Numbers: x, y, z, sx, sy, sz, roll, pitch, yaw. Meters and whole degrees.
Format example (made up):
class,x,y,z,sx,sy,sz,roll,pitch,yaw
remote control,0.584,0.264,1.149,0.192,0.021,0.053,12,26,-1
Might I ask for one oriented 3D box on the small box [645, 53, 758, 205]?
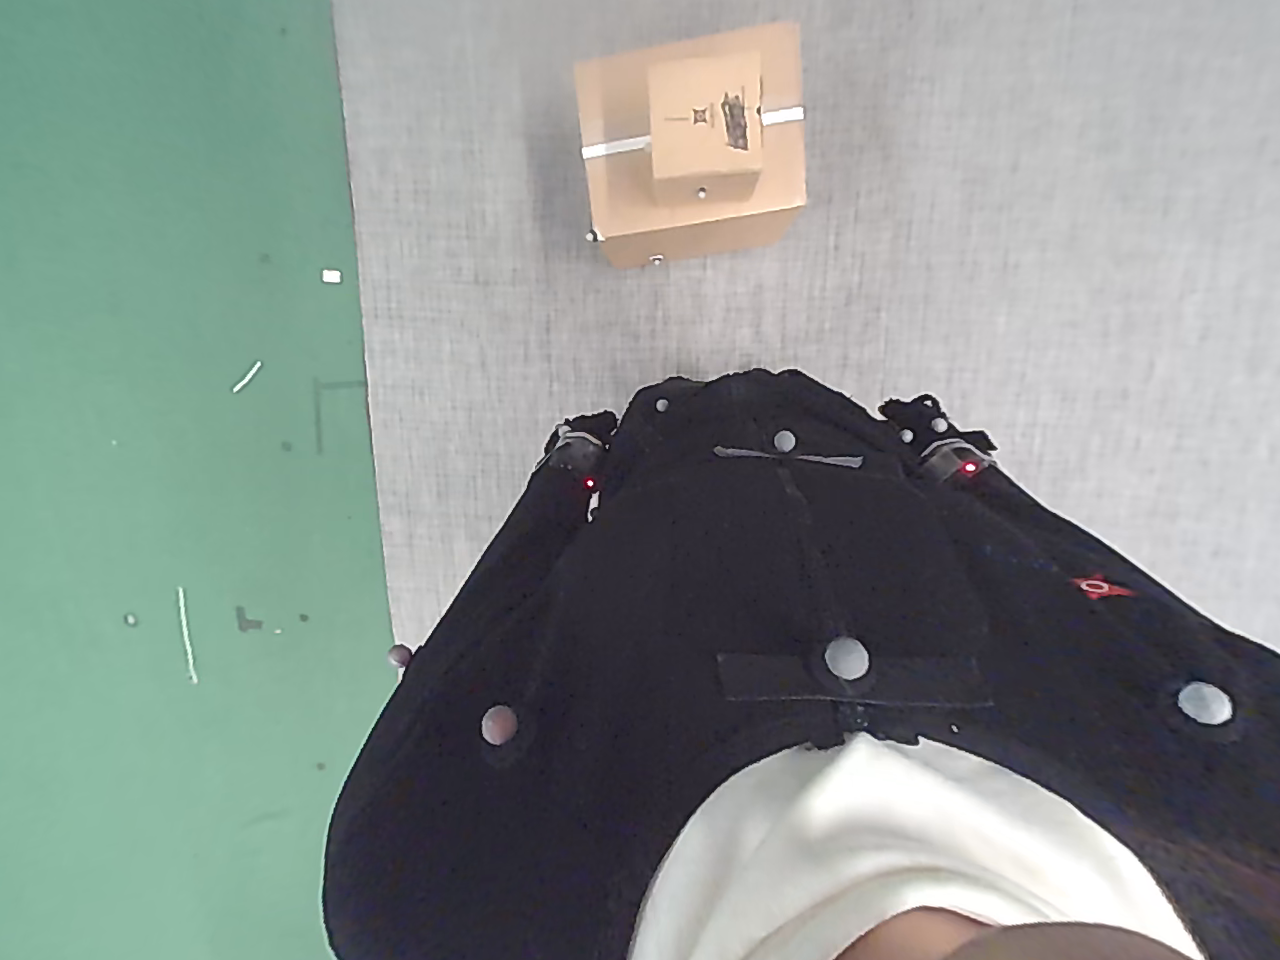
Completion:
class,x,y,z,sx,sy,sz,roll,pitch,yaw
small box,0.103,-0.588,0.927,0.179,0.176,0.168,-2,102,6
